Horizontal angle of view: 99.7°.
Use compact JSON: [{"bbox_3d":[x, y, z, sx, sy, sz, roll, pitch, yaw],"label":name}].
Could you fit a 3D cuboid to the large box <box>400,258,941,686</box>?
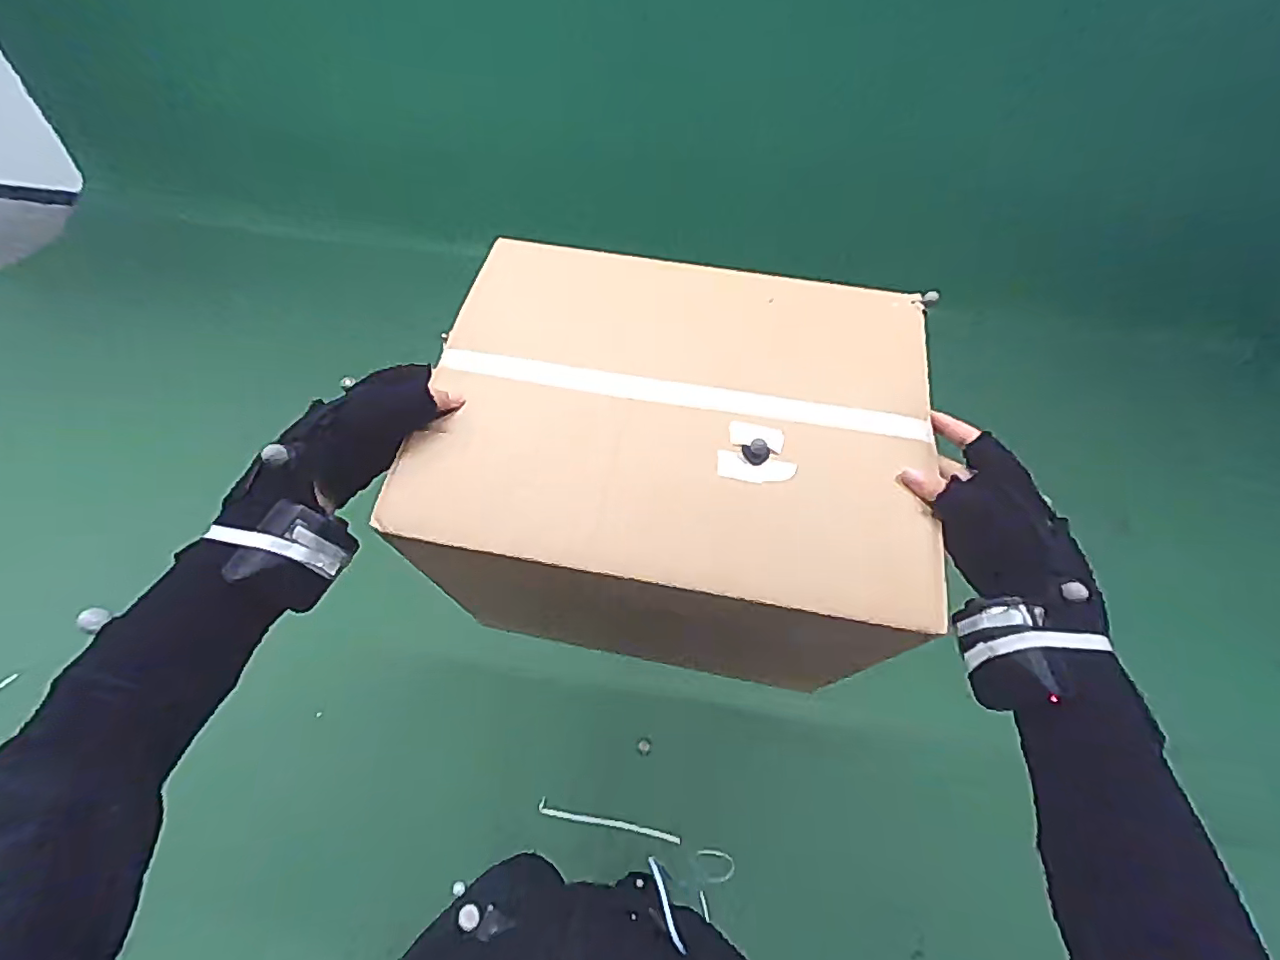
[{"bbox_3d":[0.035,0.009,0.588,0.408,0.320,0.320,10,62,4],"label":"large box"}]
